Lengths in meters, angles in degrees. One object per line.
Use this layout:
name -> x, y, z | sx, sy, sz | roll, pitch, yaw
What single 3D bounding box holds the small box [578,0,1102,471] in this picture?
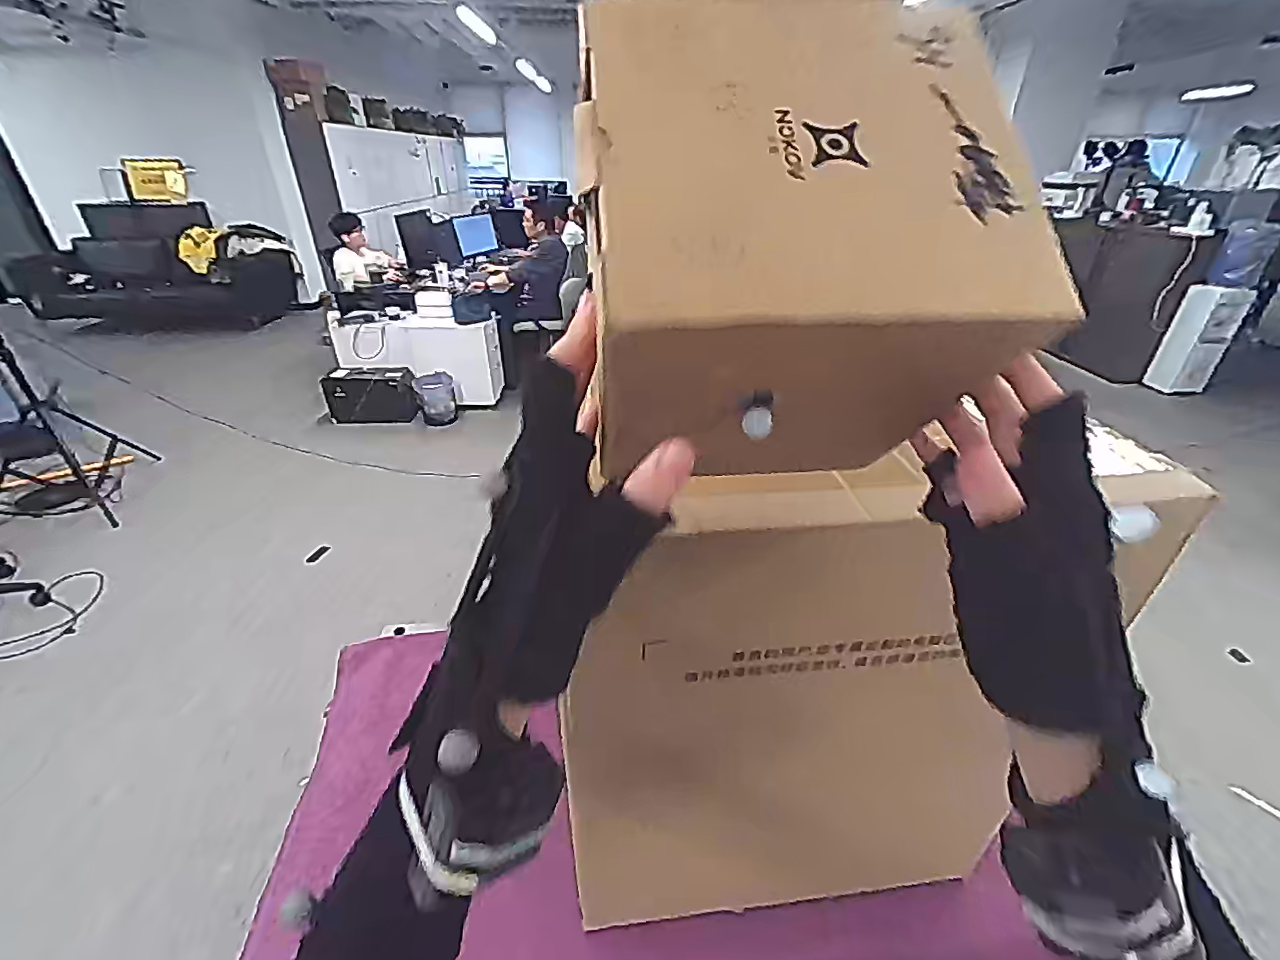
small box -> 0.064, -0.106, 0.278 | 0.179, 0.176, 0.168 | -3, 74, -3
